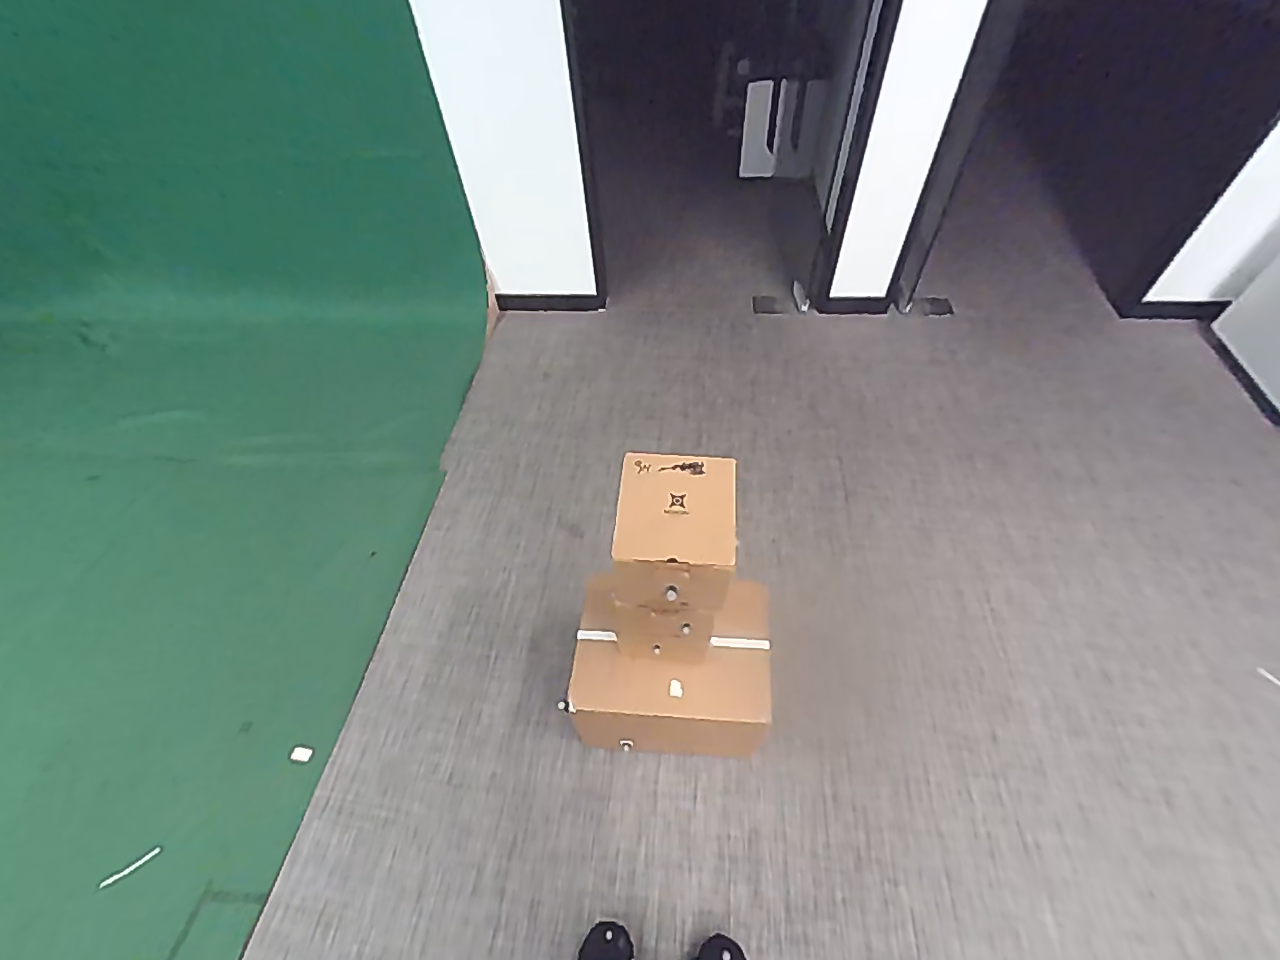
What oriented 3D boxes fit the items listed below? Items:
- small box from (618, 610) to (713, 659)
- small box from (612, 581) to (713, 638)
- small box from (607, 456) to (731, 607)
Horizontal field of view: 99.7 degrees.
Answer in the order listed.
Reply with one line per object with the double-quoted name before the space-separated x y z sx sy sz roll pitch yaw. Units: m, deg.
"small box" 0.054 0.260 1.101 0.179 0.176 0.168 2 58 5
"small box" 0.047 0.172 0.965 0.168 0.176 0.179 3 57 4
"small box" 0.050 0.084 0.828 0.168 0.176 0.179 3 59 5
